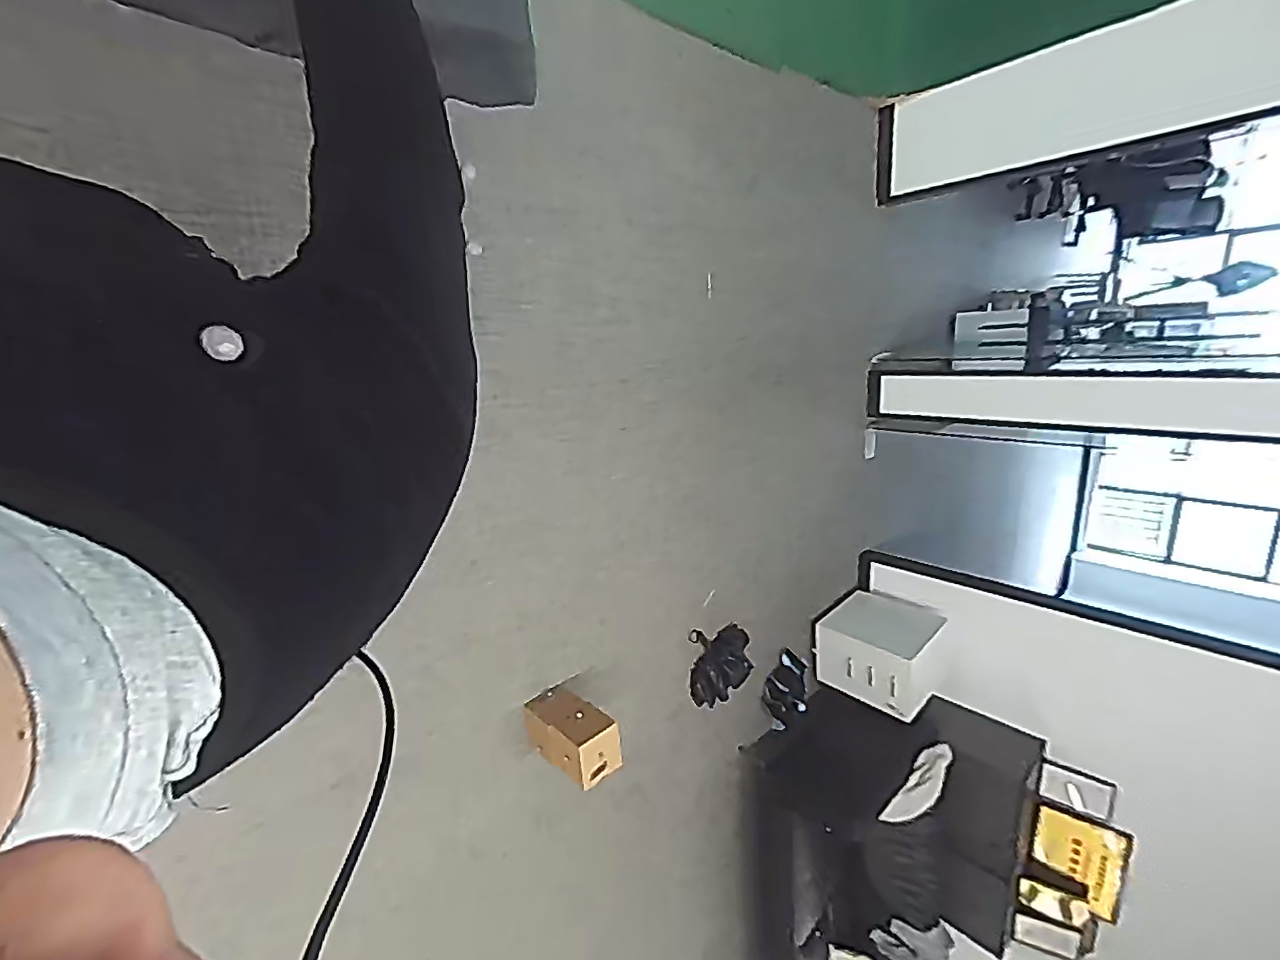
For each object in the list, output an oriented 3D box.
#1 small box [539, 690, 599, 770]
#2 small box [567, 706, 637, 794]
[{"bbox_3d":[-0.247,0.902,1.967,0.168,0.176,0.179,-20,109,-39],"label":"small box"},{"bbox_3d":[-0.131,0.916,1.851,0.168,0.176,0.179,-18,109,-39],"label":"small box"}]
